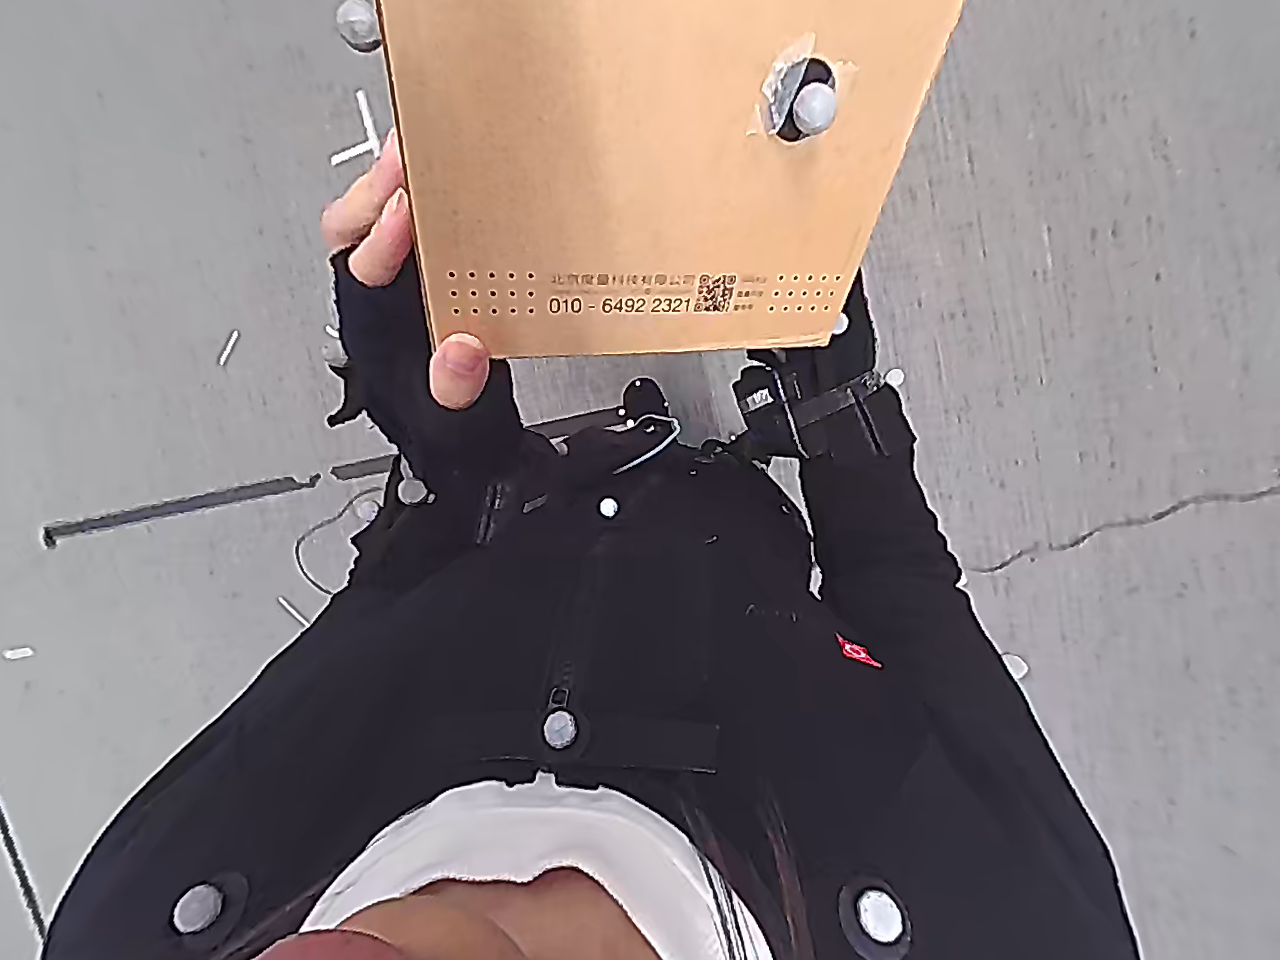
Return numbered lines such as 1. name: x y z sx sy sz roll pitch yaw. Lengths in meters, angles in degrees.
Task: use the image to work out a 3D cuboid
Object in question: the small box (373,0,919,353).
1. small box: -0.010 -0.165 0.227 0.168 0.179 0.176 -5 135 -15
